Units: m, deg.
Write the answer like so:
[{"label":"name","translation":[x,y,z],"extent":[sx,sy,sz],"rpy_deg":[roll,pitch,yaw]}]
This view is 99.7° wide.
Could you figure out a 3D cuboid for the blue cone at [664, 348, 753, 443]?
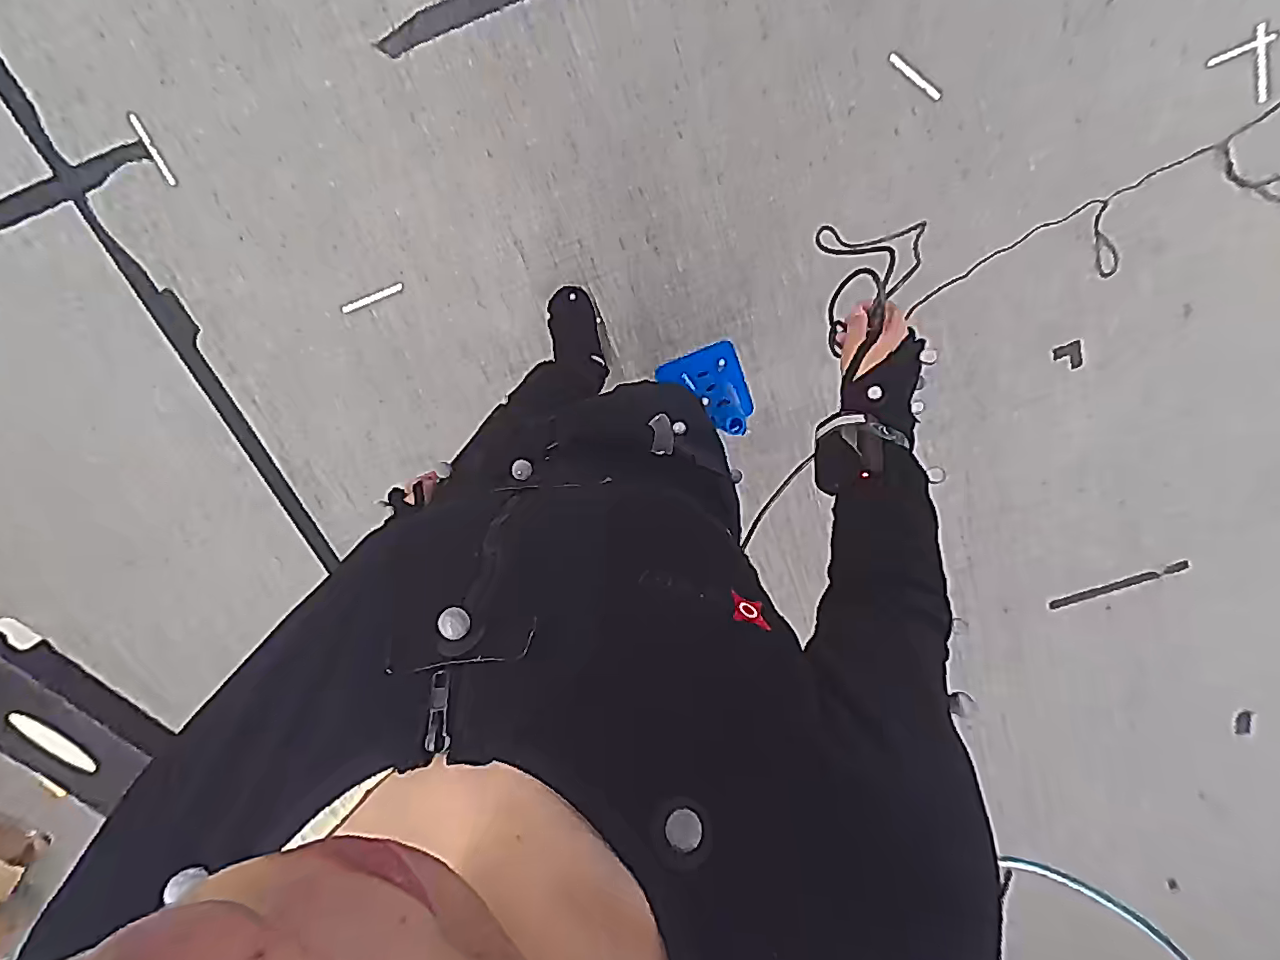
[{"label":"blue cone","translation":[0.173,-0.156,1.160],"extent":[0.193,0.380,0.192],"rpy_deg":[-20,109,4]}]
